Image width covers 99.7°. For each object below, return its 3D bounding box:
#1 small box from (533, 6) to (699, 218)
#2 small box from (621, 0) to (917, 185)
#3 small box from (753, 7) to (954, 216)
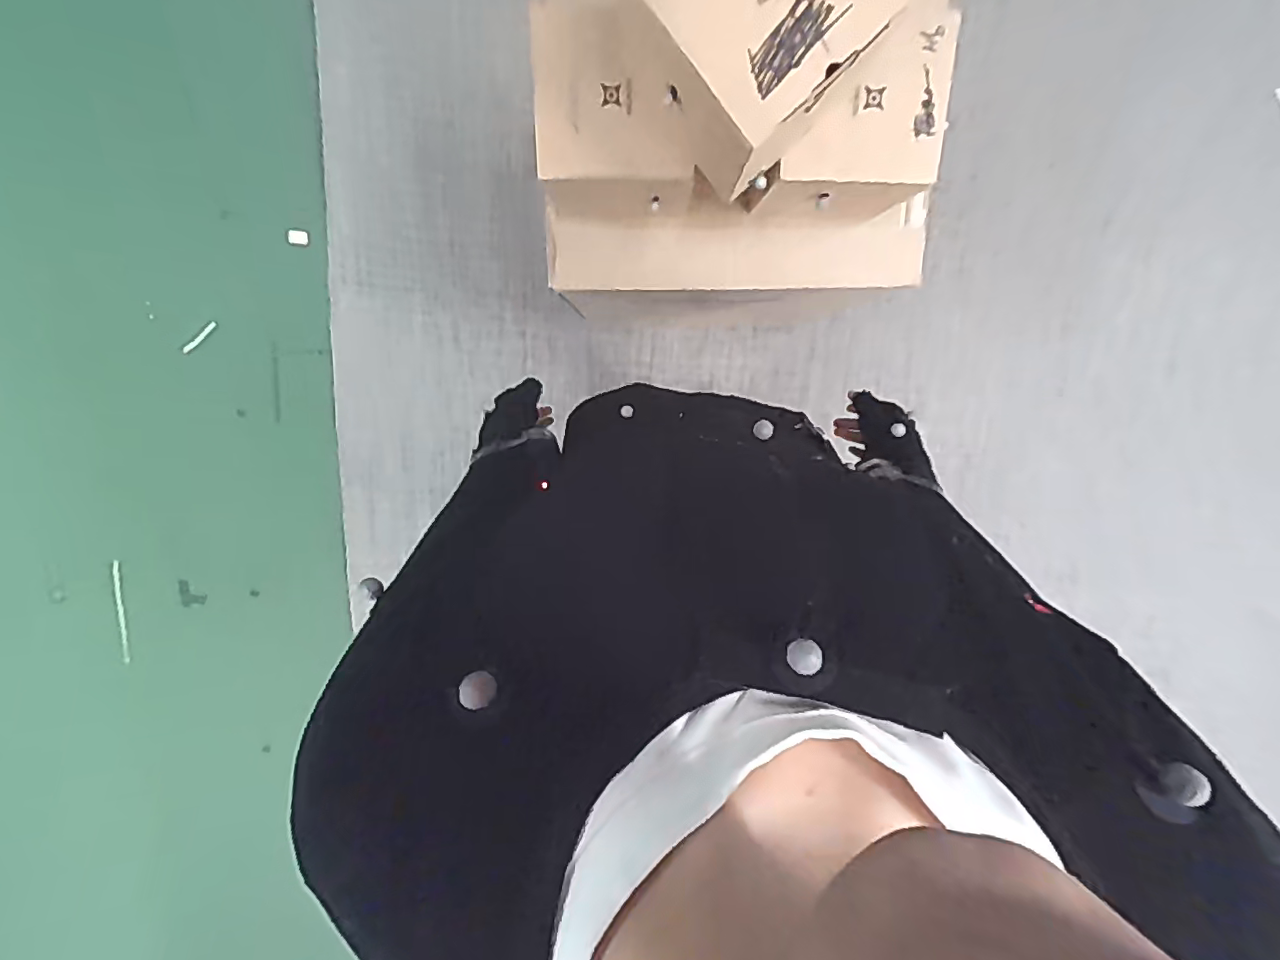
[{"bbox_3d":[-0.023,-0.428,0.656,0.179,0.176,0.168,-1,102,2],"label":"small box"},{"bbox_3d":[0.101,-0.403,0.492,0.168,0.176,0.179,-40,99,9],"label":"small box"},{"bbox_3d":[0.238,-0.427,0.654,0.179,0.176,0.168,2,104,1],"label":"small box"}]
